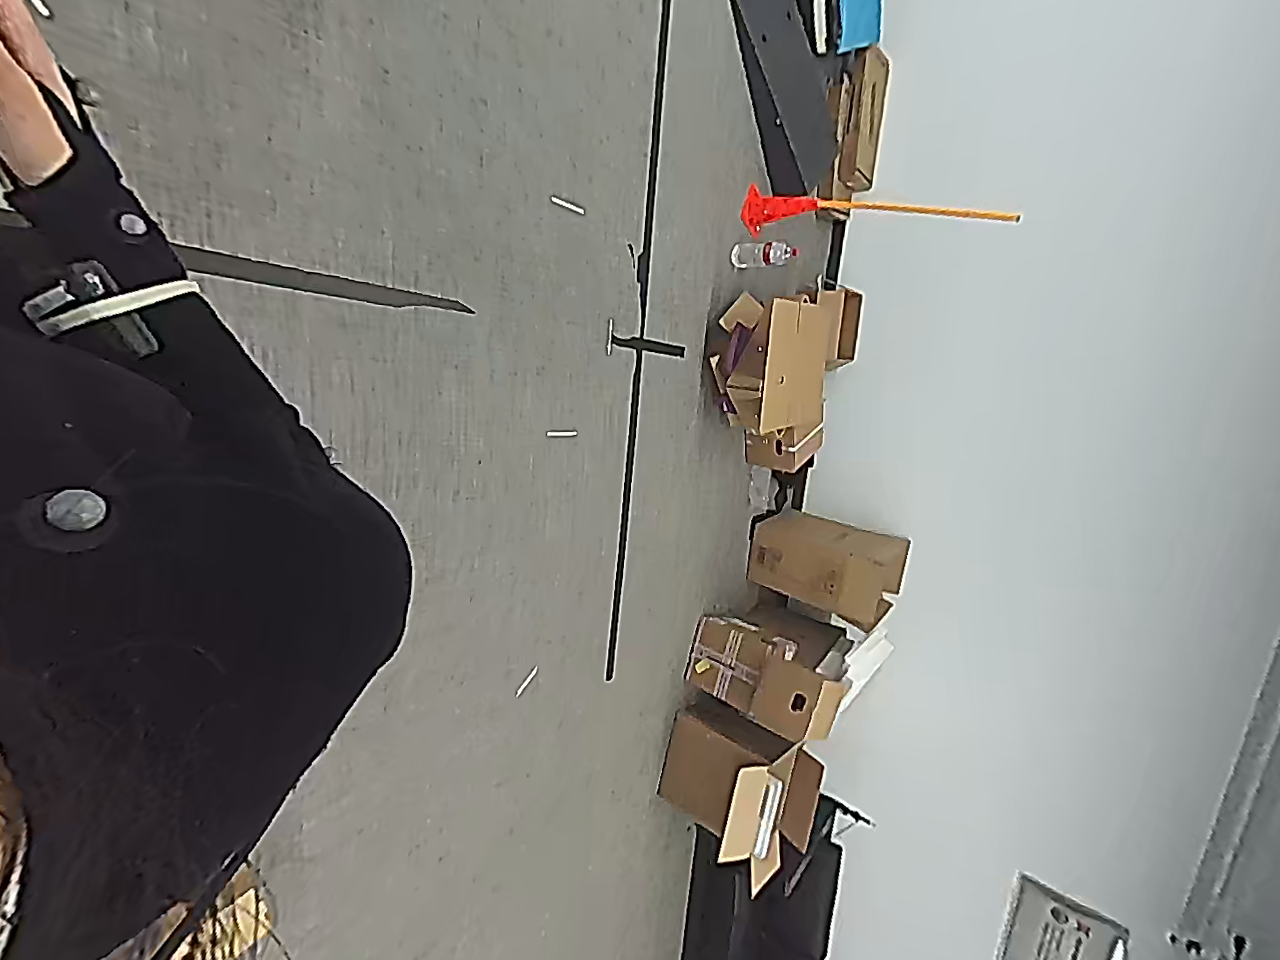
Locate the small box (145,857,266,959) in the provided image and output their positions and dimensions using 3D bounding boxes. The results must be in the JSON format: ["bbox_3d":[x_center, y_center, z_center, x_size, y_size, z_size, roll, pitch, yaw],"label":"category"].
[{"bbox_3d":[-1.083,1.104,1.350,0.179,0.176,0.168,-26,121,-47],"label":"small box"}]
